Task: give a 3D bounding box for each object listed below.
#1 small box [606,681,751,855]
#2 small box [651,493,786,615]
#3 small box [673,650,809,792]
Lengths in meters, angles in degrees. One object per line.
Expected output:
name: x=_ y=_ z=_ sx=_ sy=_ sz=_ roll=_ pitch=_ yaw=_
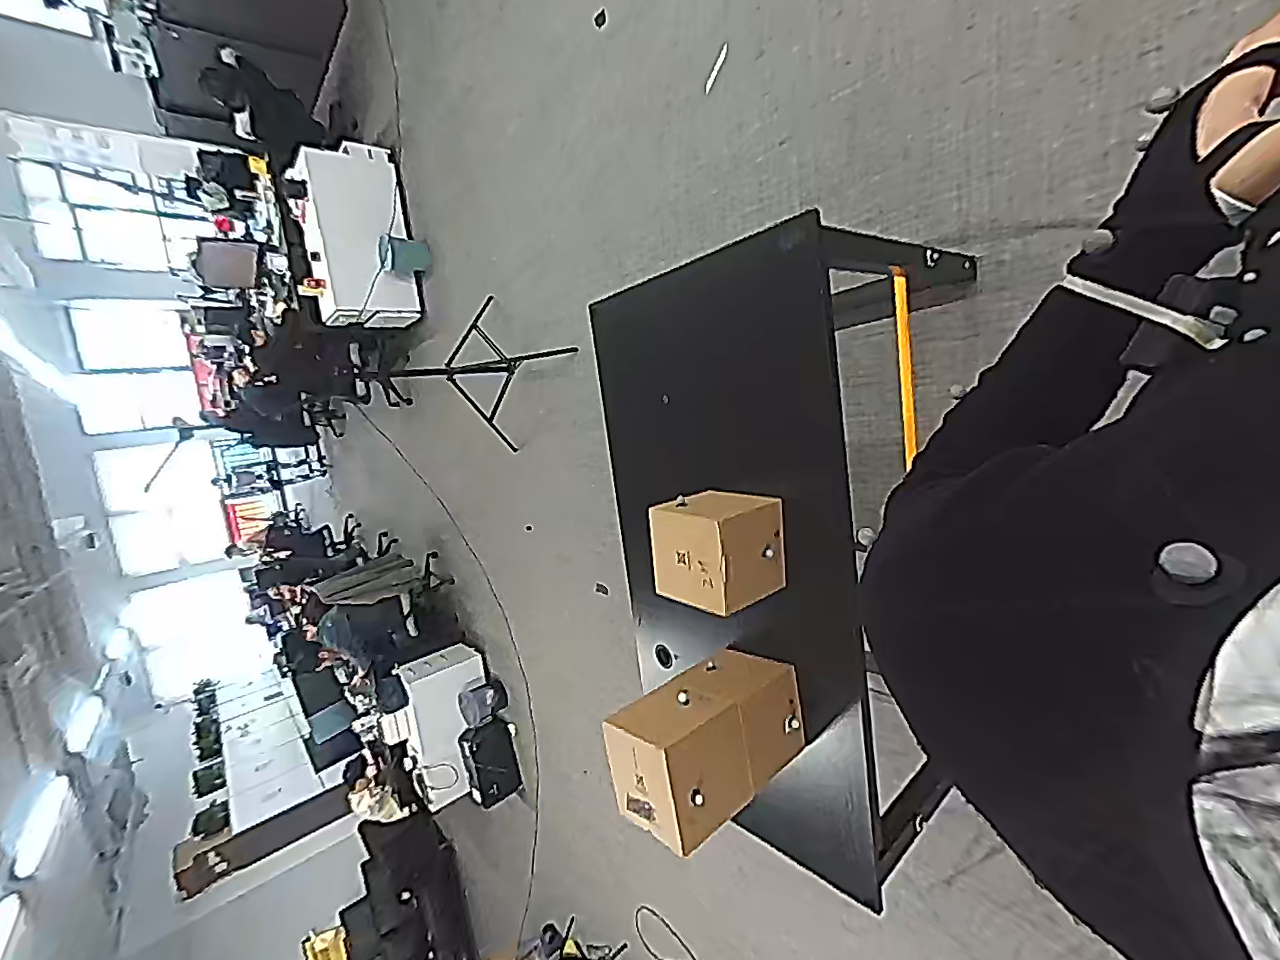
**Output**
small box: x=0.069 y=0.473 z=0.920 sx=0.168 sy=0.176 sz=0.179 roll=-6 pitch=96 yaw=51
small box: x=0.144 y=0.123 z=0.985 sx=0.179 sy=0.176 sz=0.168 roll=7 pitch=106 yaw=50
small box: x=0.191 y=0.441 z=1.026 sx=0.179 sy=0.176 sz=0.168 roll=-6 pitch=97 yaw=50
